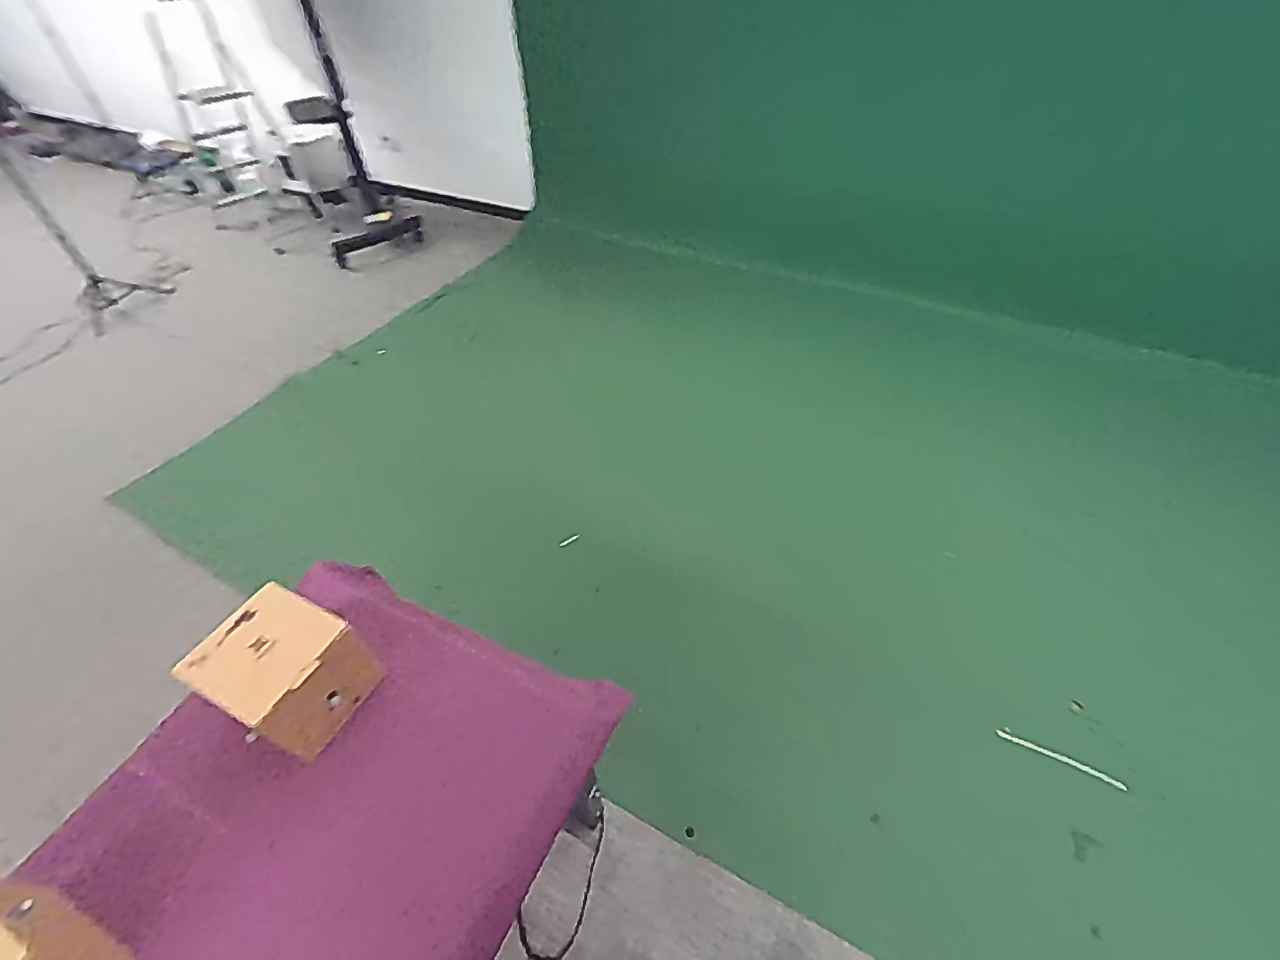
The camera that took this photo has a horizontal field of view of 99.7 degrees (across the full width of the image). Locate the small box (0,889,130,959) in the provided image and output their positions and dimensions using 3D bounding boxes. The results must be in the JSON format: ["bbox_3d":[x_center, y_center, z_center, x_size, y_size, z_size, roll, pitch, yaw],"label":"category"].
[{"bbox_3d":[-0.733,0.577,0.590,0.179,0.176,0.168,18,49,17],"label":"small box"}]

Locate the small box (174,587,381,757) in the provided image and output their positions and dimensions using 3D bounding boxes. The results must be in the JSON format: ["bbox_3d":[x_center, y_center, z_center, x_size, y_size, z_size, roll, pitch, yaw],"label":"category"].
[{"bbox_3d":[-0.544,0.303,0.841,0.179,0.176,0.168,20,50,17],"label":"small box"}]
